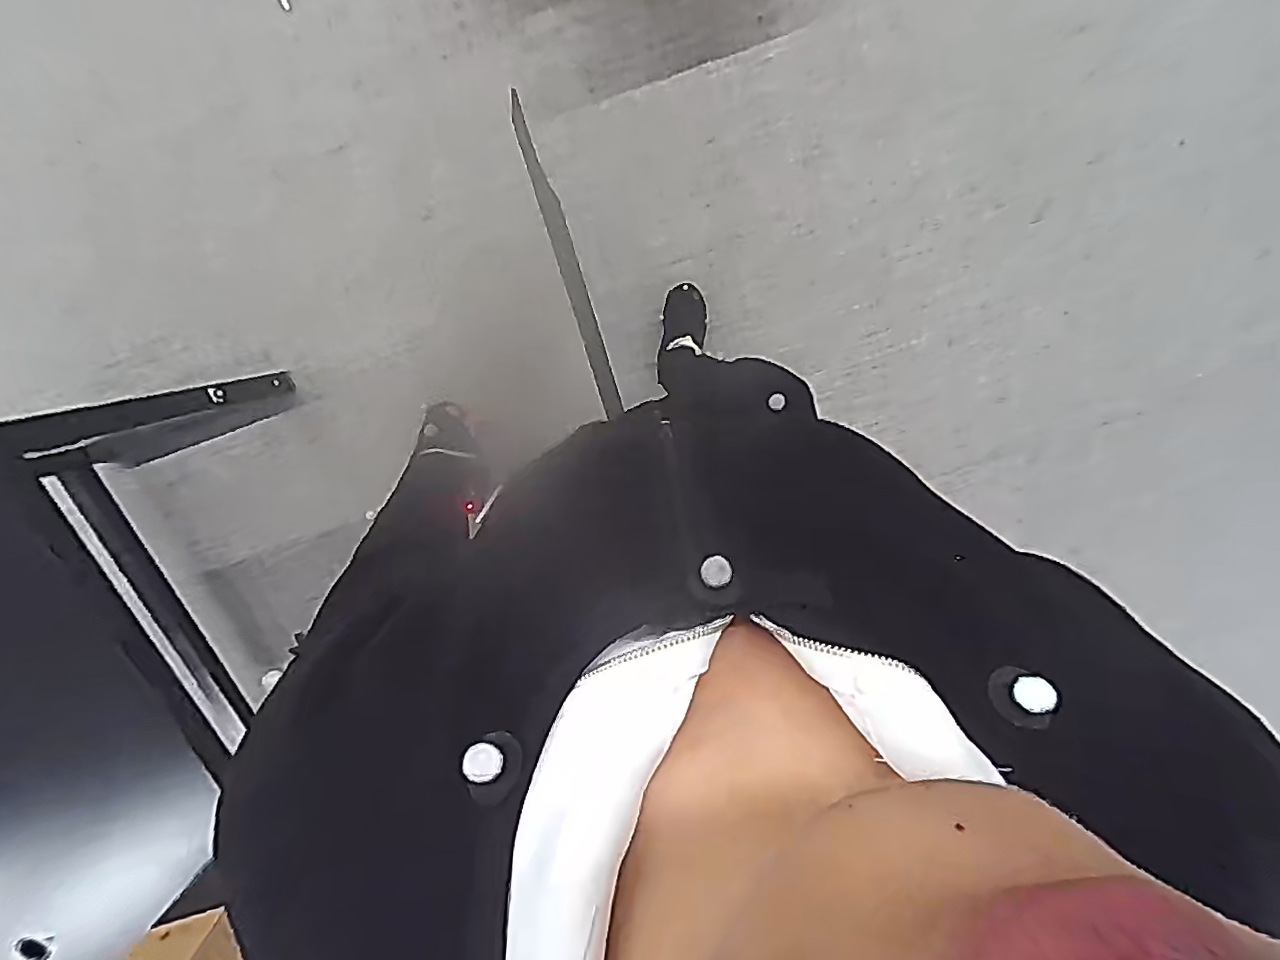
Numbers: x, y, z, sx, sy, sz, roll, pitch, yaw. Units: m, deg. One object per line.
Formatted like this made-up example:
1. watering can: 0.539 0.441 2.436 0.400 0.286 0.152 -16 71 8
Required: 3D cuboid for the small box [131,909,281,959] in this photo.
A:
1. small box: -0.767 0.869 0.913 0.168 0.176 0.179 -20 107 6
